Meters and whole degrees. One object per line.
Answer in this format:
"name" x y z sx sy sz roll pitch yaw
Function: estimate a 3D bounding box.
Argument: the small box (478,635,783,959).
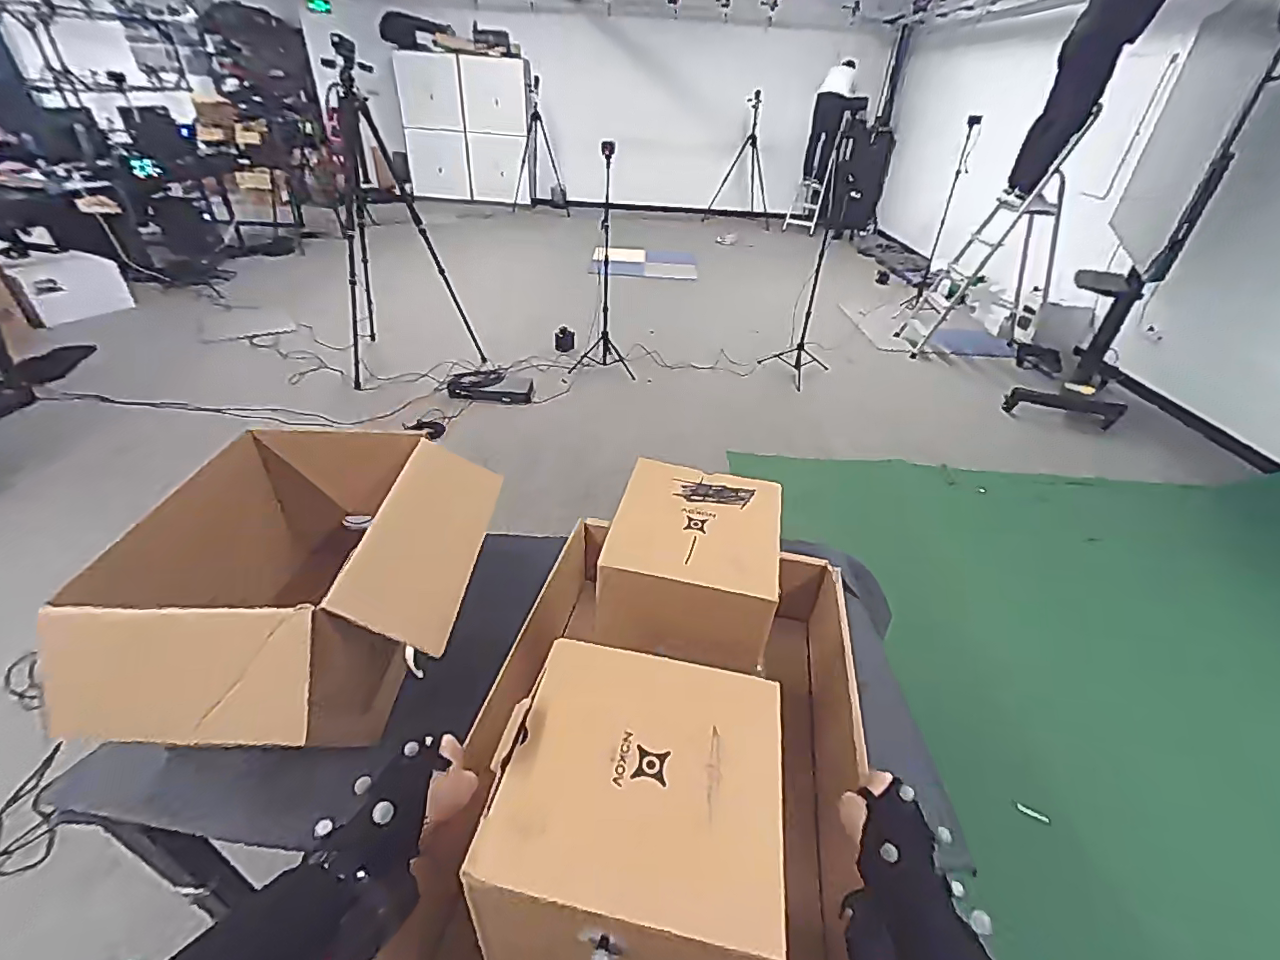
"small box" 0.000 0.249 0.406 0.179 0.176 0.168 10 36 6

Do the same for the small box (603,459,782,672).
"small box" 0.056 0.104 0.605 0.168 0.176 0.179 11 39 8
